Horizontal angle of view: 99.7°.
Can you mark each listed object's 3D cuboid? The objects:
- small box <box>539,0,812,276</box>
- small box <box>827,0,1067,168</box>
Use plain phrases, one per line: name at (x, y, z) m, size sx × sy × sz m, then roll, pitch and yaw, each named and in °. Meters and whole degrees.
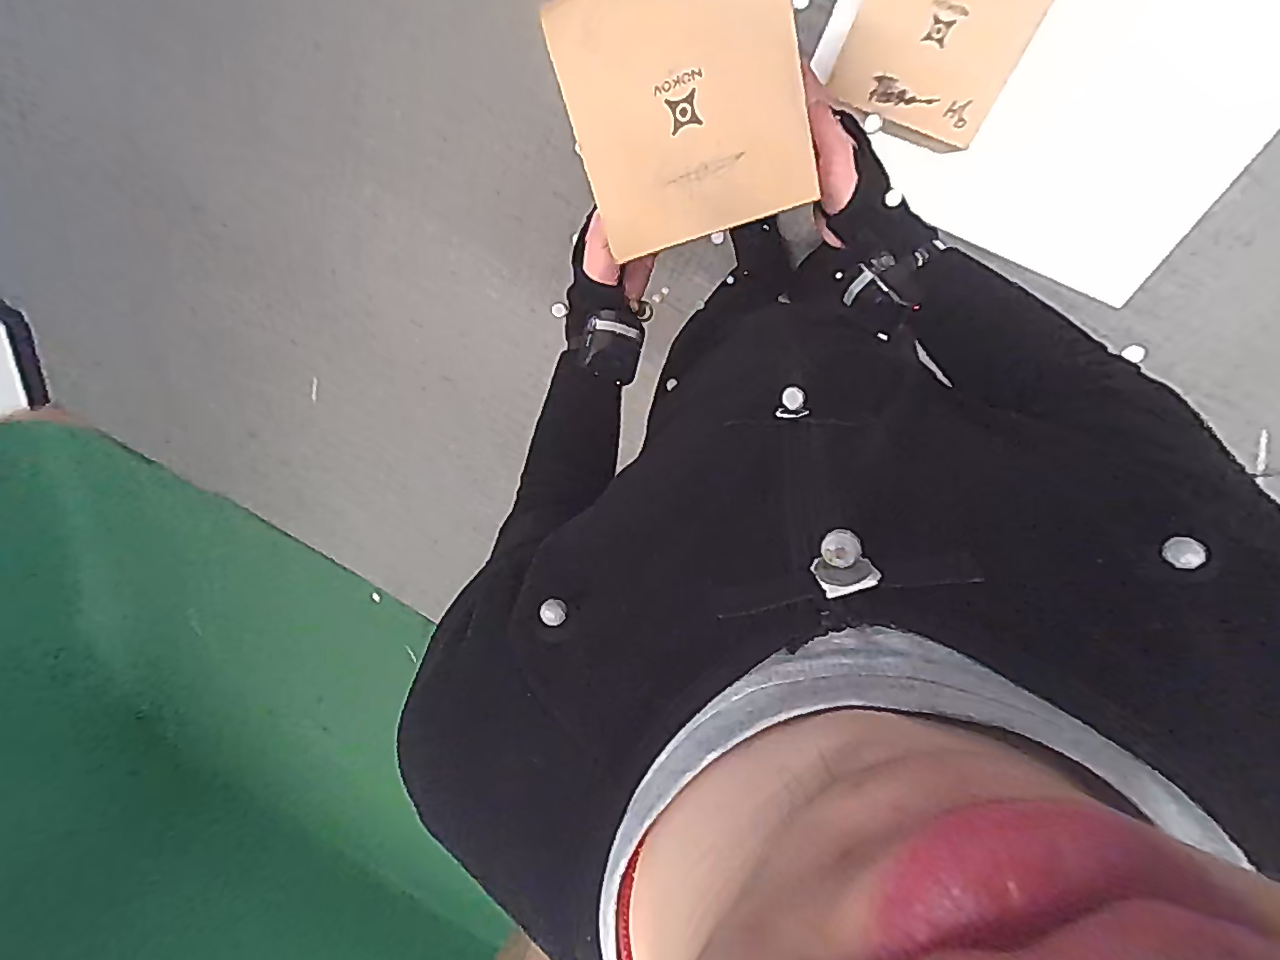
small box at (0.044, -0.293, 0.458) m, size 0.168 × 0.176 × 0.179 m, roll -10°, pitch 116°, yaw 20°
small box at (0.322, -0.467, 0.594) m, size 0.168 × 0.176 × 0.179 m, roll 26°, pitch 124°, yaw 5°
